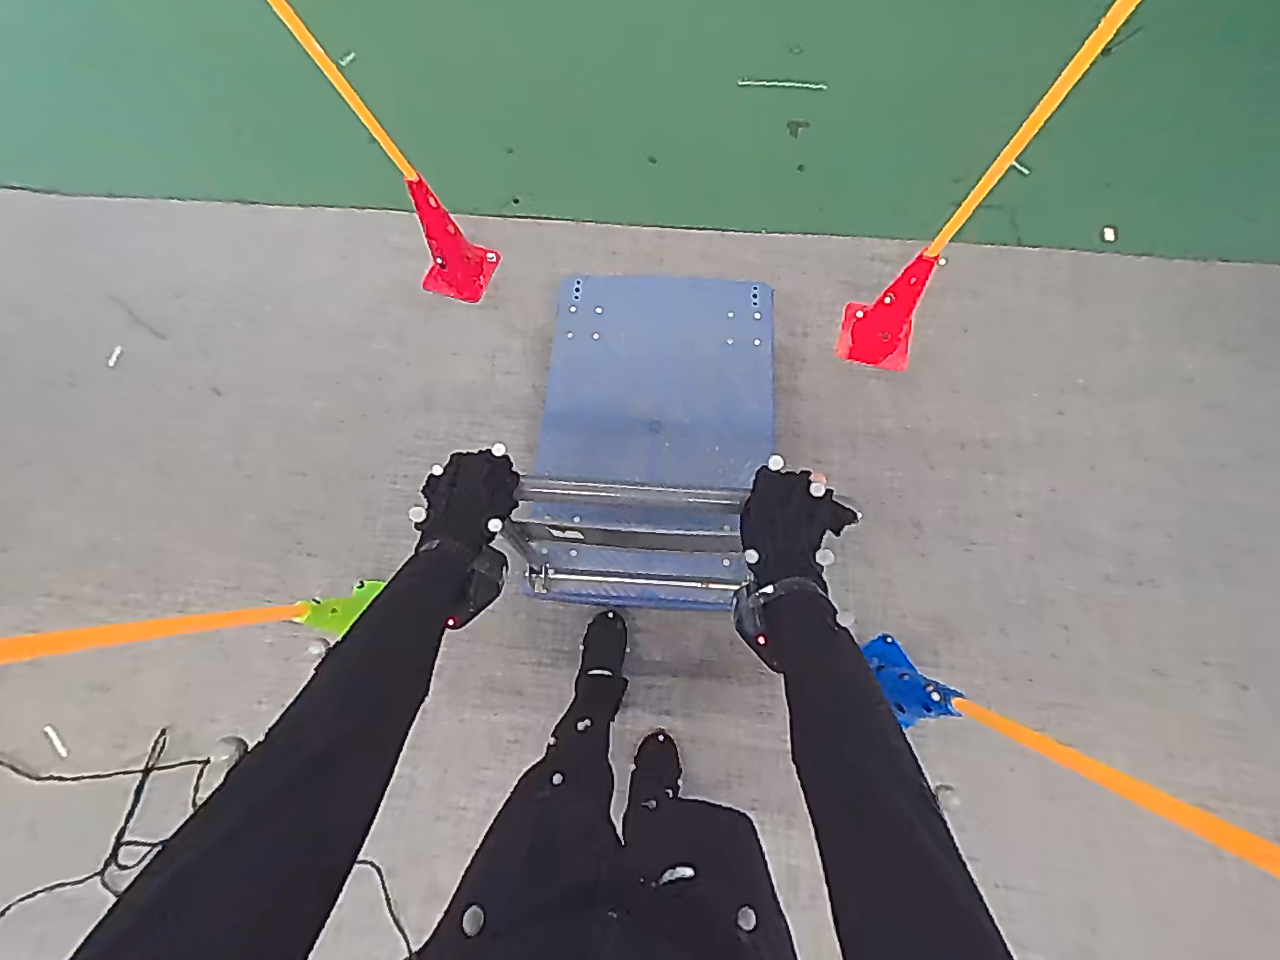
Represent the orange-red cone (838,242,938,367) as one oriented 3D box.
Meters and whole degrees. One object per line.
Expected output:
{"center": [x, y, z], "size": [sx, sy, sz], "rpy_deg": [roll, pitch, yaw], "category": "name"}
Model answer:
{"center": [0.684, -0.483, 1.420], "size": [0.198, 0.360, 0.199], "rpy_deg": [16, 75, 8], "category": "orange-red cone"}
